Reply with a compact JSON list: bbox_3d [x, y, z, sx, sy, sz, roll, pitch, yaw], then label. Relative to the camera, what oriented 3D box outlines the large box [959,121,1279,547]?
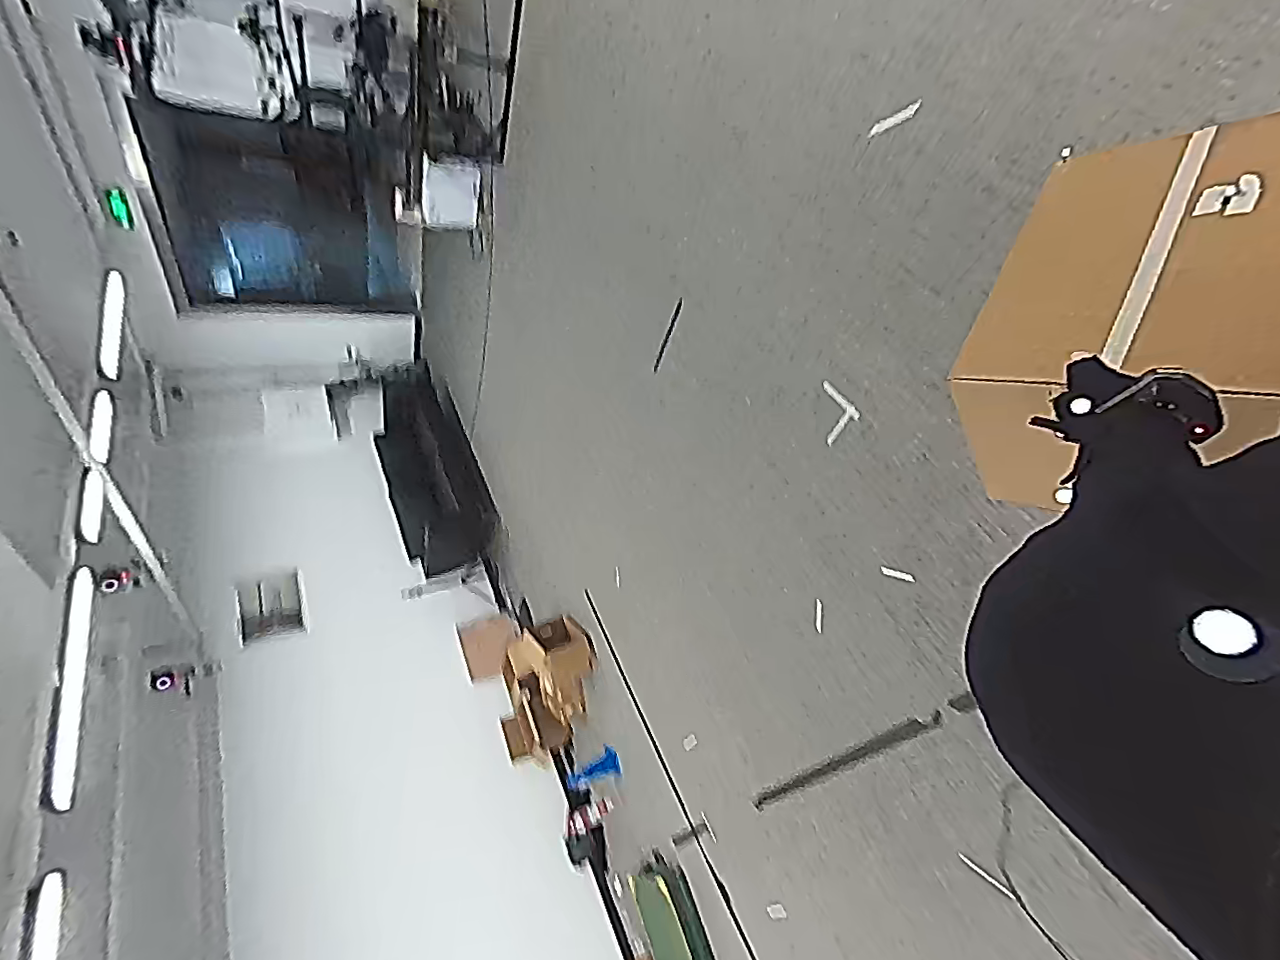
[{"bbox_3d":[0.689,-0.179,0.719,0.320,0.320,0.408,16,69,48],"label":"large box"}]
